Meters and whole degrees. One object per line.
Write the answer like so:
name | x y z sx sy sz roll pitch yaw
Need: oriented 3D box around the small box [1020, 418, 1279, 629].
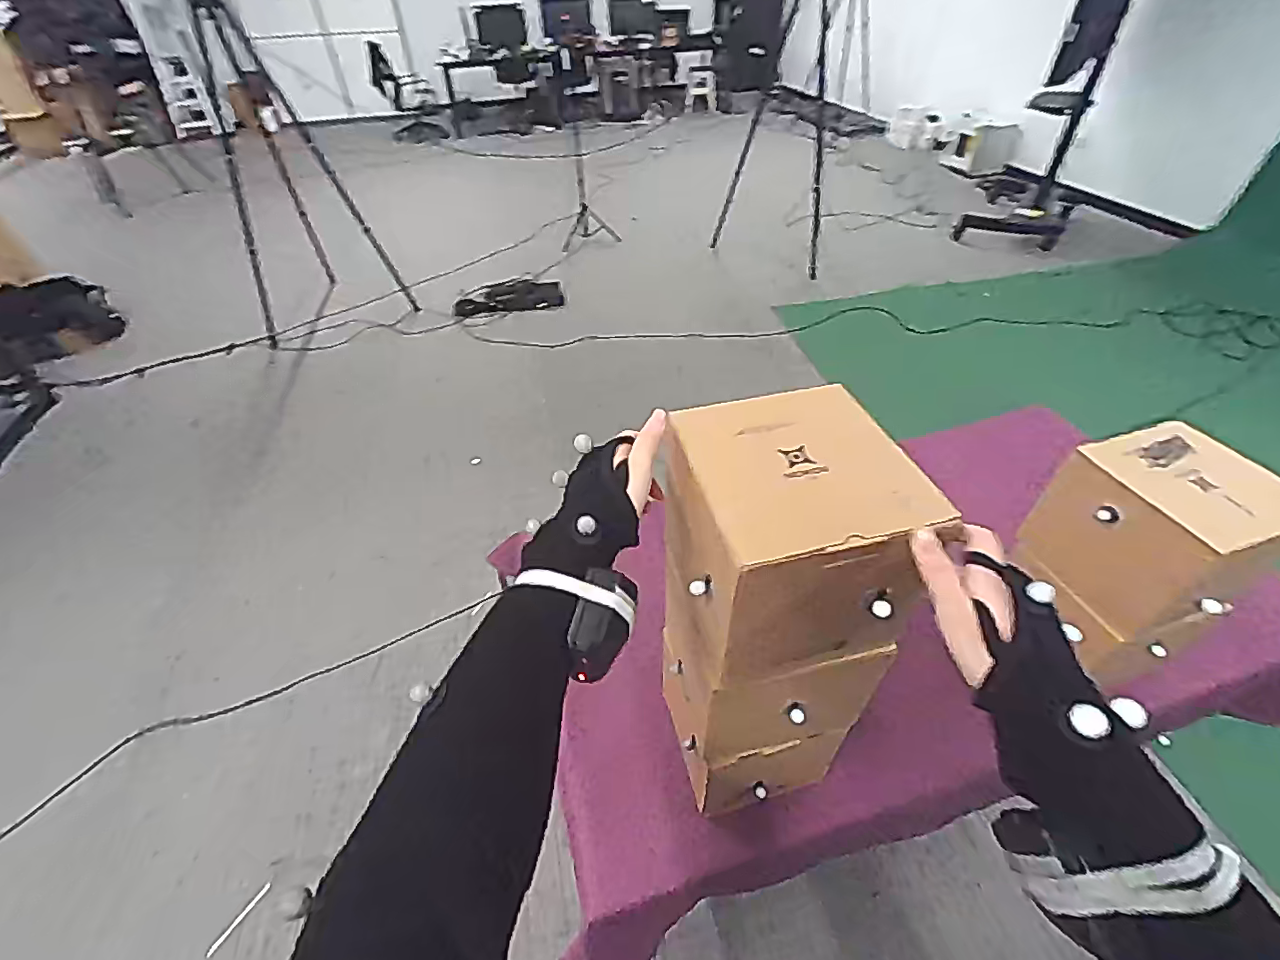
small box | 0.628 0.052 0.670 0.168 0.176 0.179 -14 45 -11

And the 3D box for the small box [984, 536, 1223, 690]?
small box | 0.637 0.176 0.778 0.179 0.176 0.168 -12 45 -9

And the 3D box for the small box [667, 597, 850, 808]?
small box | 0.134 0.284 0.695 0.168 0.176 0.179 -12 45 -10
